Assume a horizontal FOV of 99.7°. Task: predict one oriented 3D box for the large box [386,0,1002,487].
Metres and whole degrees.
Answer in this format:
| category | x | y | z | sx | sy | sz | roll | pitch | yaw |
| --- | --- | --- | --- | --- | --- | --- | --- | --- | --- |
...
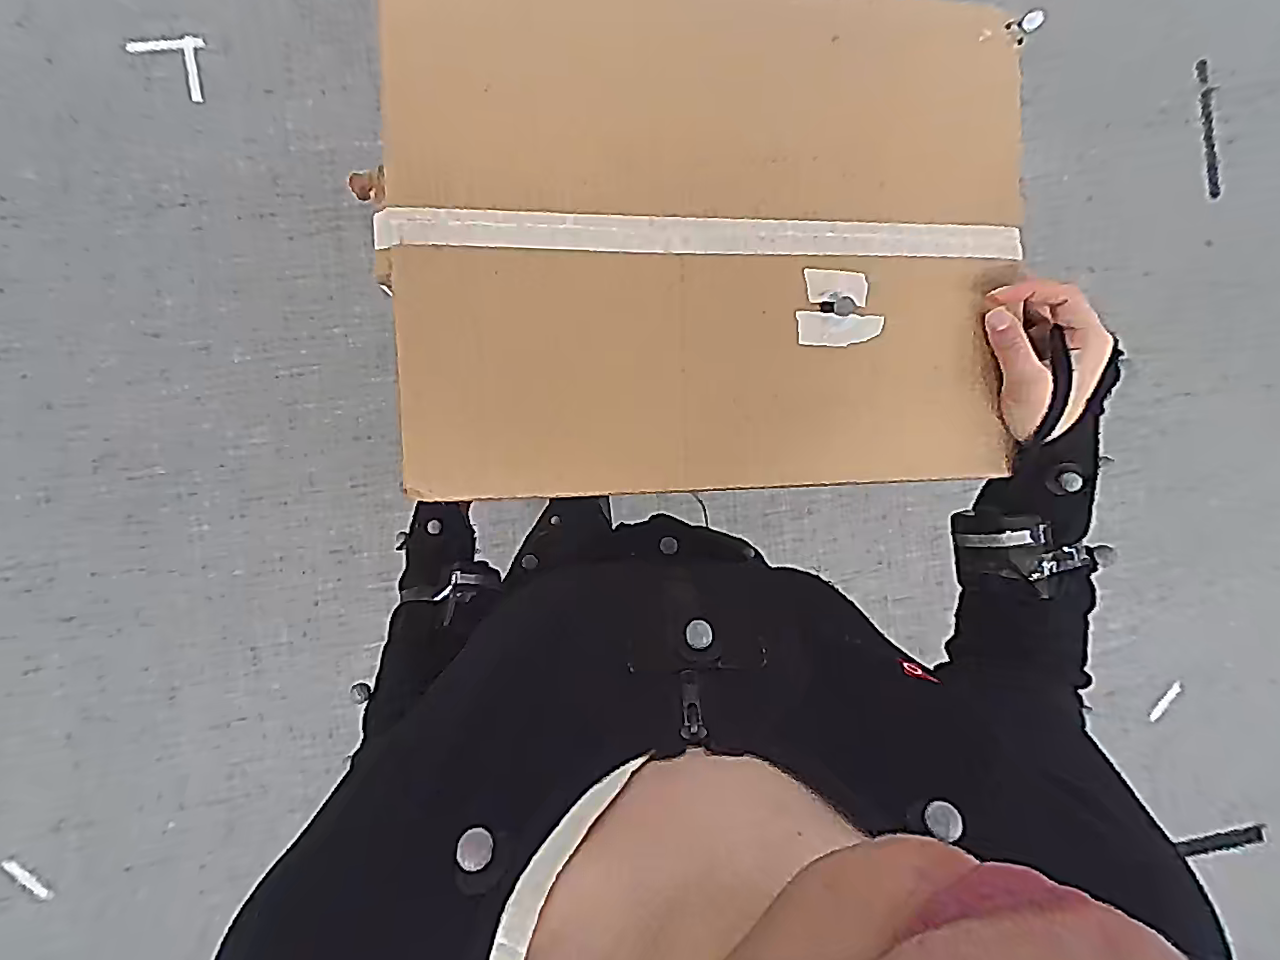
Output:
| category | x | y | z | sx | sy | sz | roll | pitch | yaw |
| --- | --- | --- | --- | --- | --- | --- | --- | --- | --- |
| large box | 0.029 | -0.166 | 0.492 | 0.408 | 0.320 | 0.320 | -3 | 93 | -10 |
